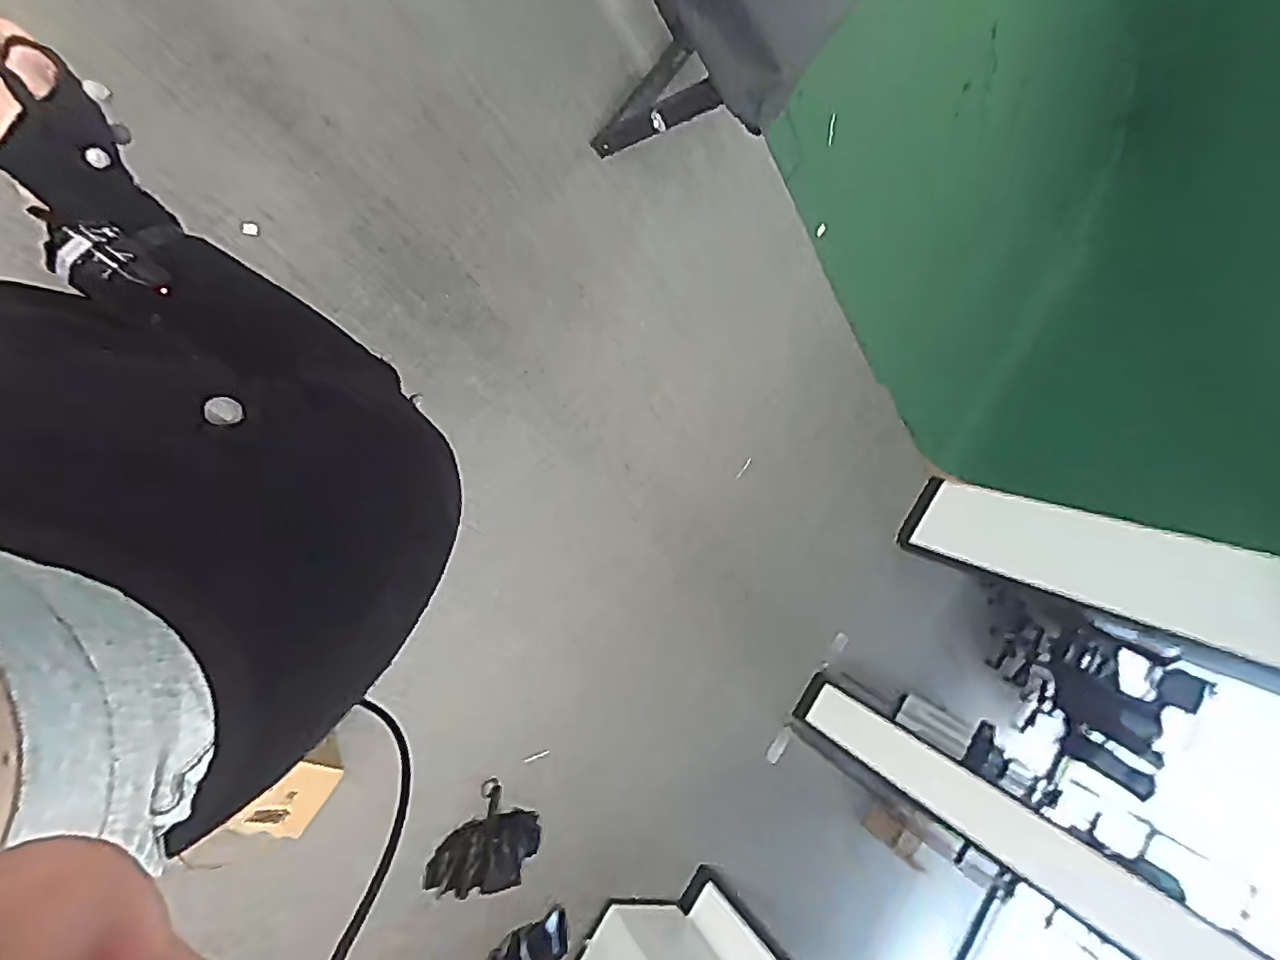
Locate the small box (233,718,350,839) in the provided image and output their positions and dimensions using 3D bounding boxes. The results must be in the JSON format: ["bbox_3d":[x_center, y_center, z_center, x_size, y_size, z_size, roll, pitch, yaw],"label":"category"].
[{"bbox_3d":[-0.835,0.711,1.296,0.168,0.176,0.179,42,77,-39],"label":"small box"}]
